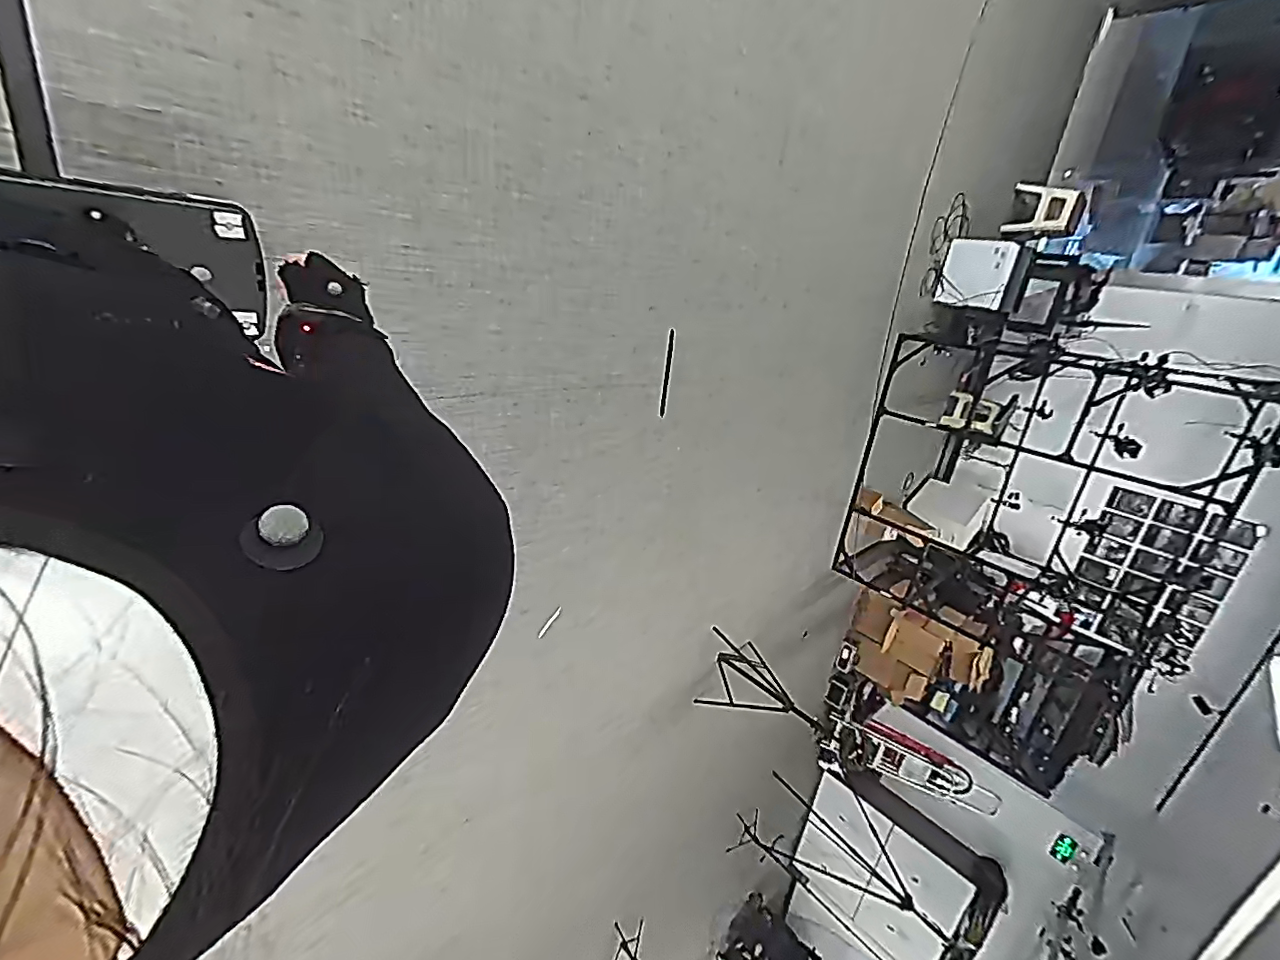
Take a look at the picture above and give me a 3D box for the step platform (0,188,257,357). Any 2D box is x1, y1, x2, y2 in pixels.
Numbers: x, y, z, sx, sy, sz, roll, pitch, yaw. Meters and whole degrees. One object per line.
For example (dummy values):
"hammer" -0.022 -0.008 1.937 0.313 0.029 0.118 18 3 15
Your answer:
"step platform" -1.131 -0.386 1.005 0.684 0.204 0.286 -15 121 -43
